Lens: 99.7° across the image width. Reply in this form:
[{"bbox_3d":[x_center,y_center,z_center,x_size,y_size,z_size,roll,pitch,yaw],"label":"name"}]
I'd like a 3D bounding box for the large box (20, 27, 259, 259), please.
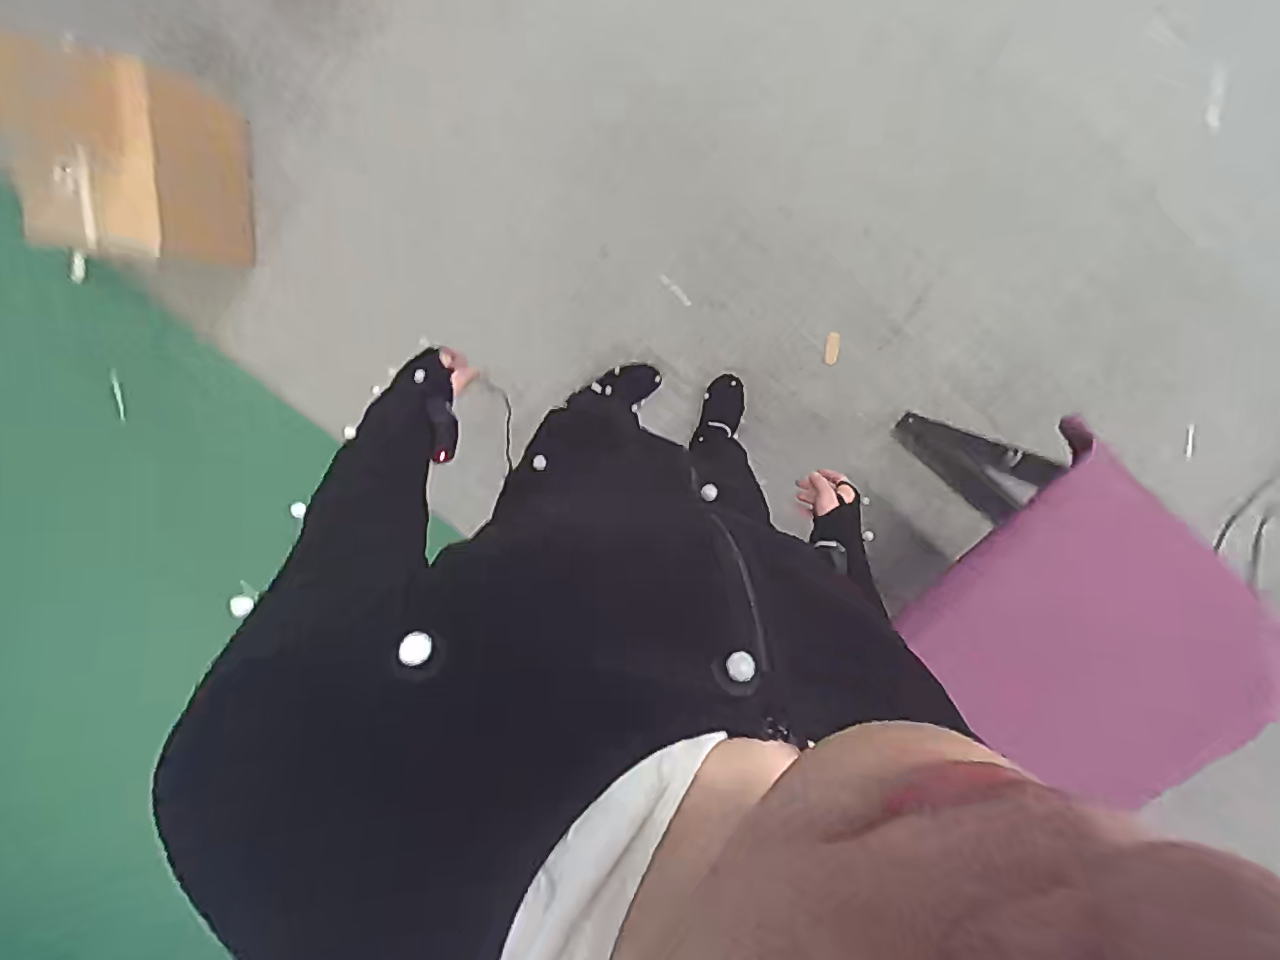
[{"bbox_3d":[-1.201,-0.789,1.326,0.320,0.320,0.408,9,107,1],"label":"large box"}]
